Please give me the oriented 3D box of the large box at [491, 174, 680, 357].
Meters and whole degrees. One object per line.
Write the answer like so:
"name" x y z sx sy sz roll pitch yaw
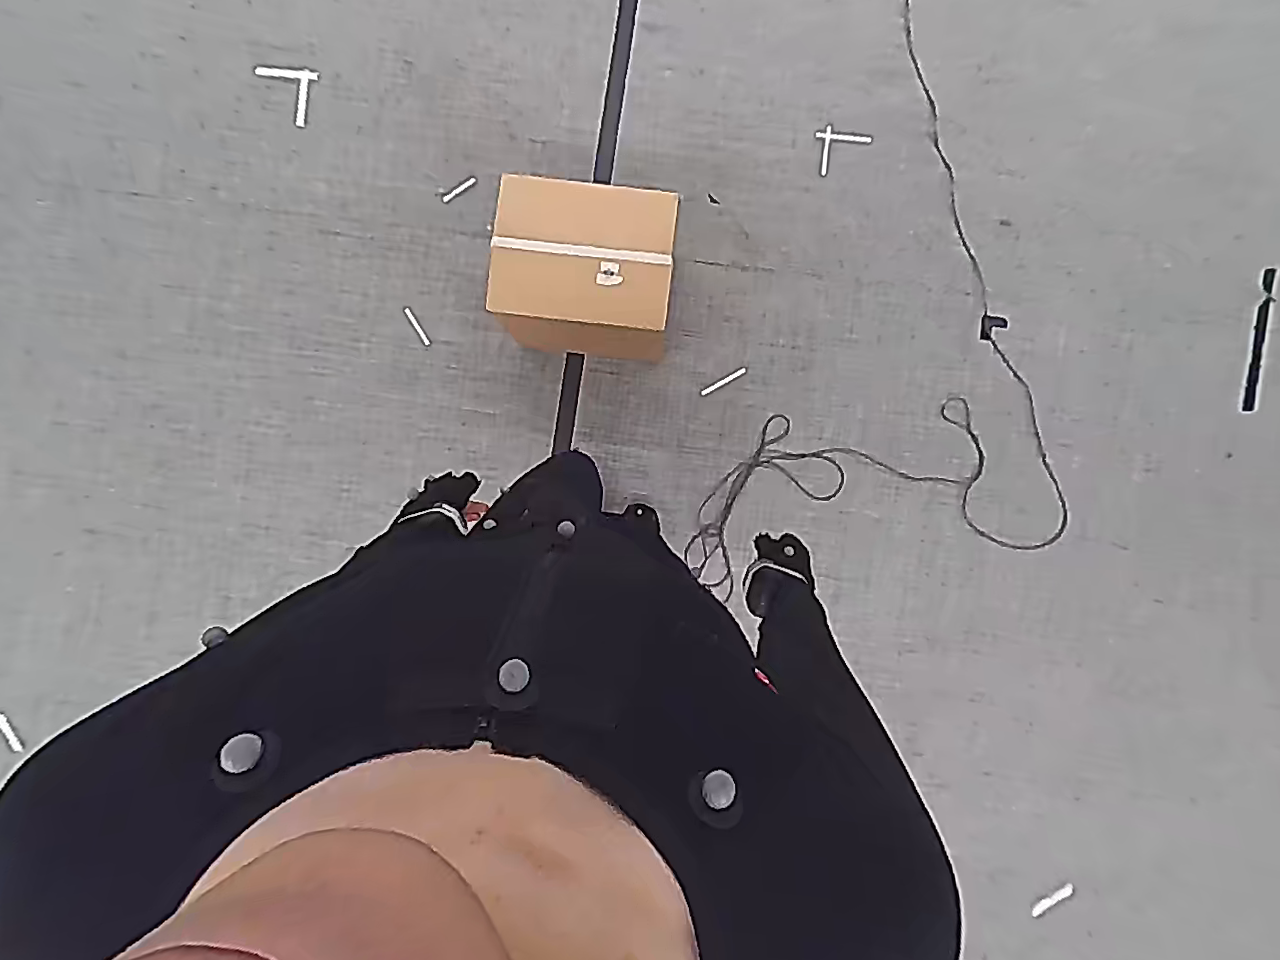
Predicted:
"large box" -0.124 -0.512 1.355 0.408 0.320 0.320 7 90 0
